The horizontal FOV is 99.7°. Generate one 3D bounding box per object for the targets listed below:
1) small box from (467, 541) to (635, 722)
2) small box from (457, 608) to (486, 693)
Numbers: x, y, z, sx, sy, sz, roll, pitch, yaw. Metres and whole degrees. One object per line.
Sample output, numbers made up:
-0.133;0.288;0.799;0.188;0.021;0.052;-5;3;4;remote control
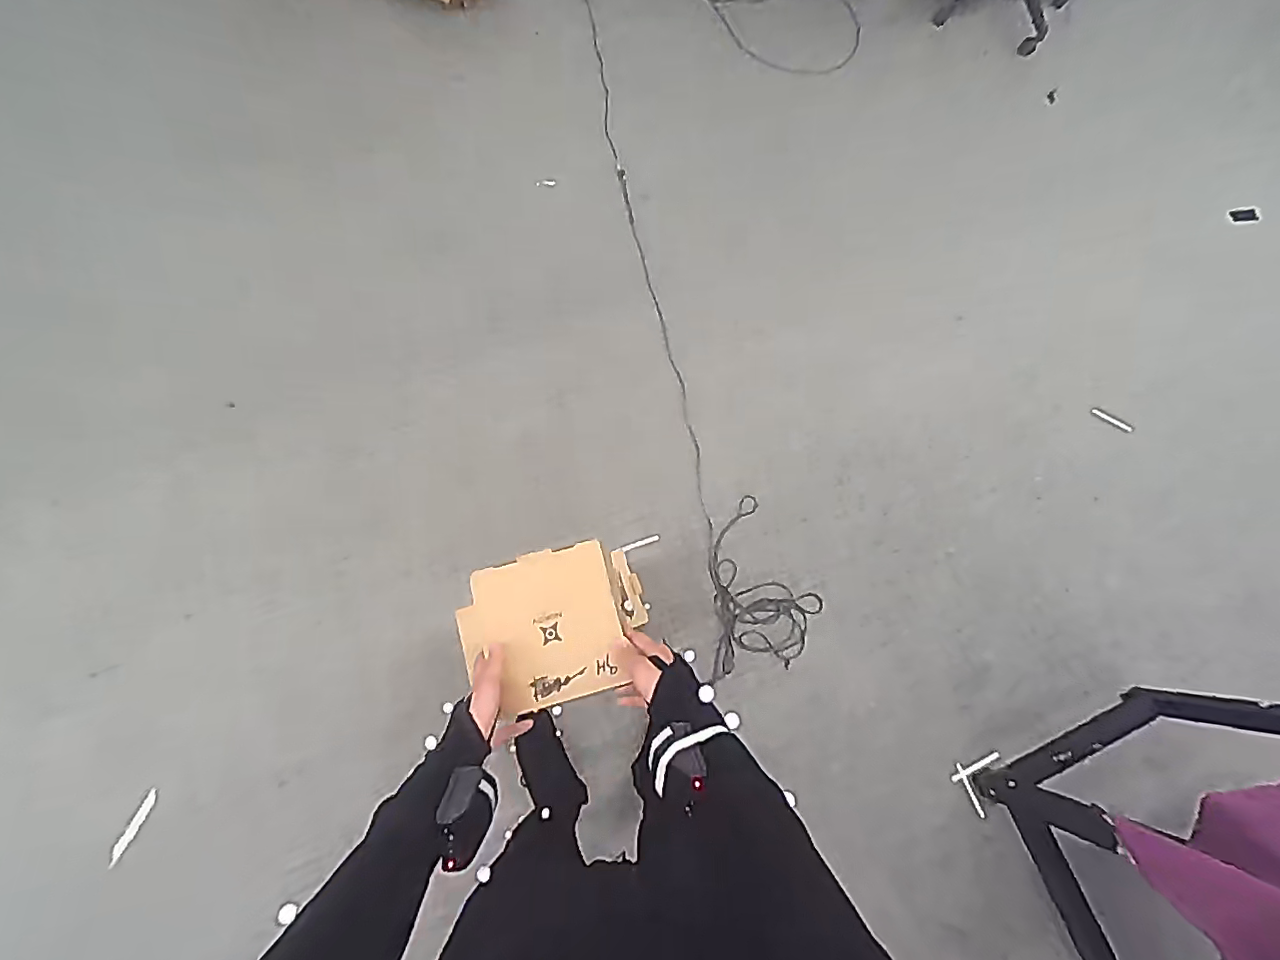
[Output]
-0.107;0.194;0.710;0.168;0.176;0.179;-15;76;-1;small box
-0.276;0.344;1.175;0.179;0.176;0.168;-16;77;-7;small box
